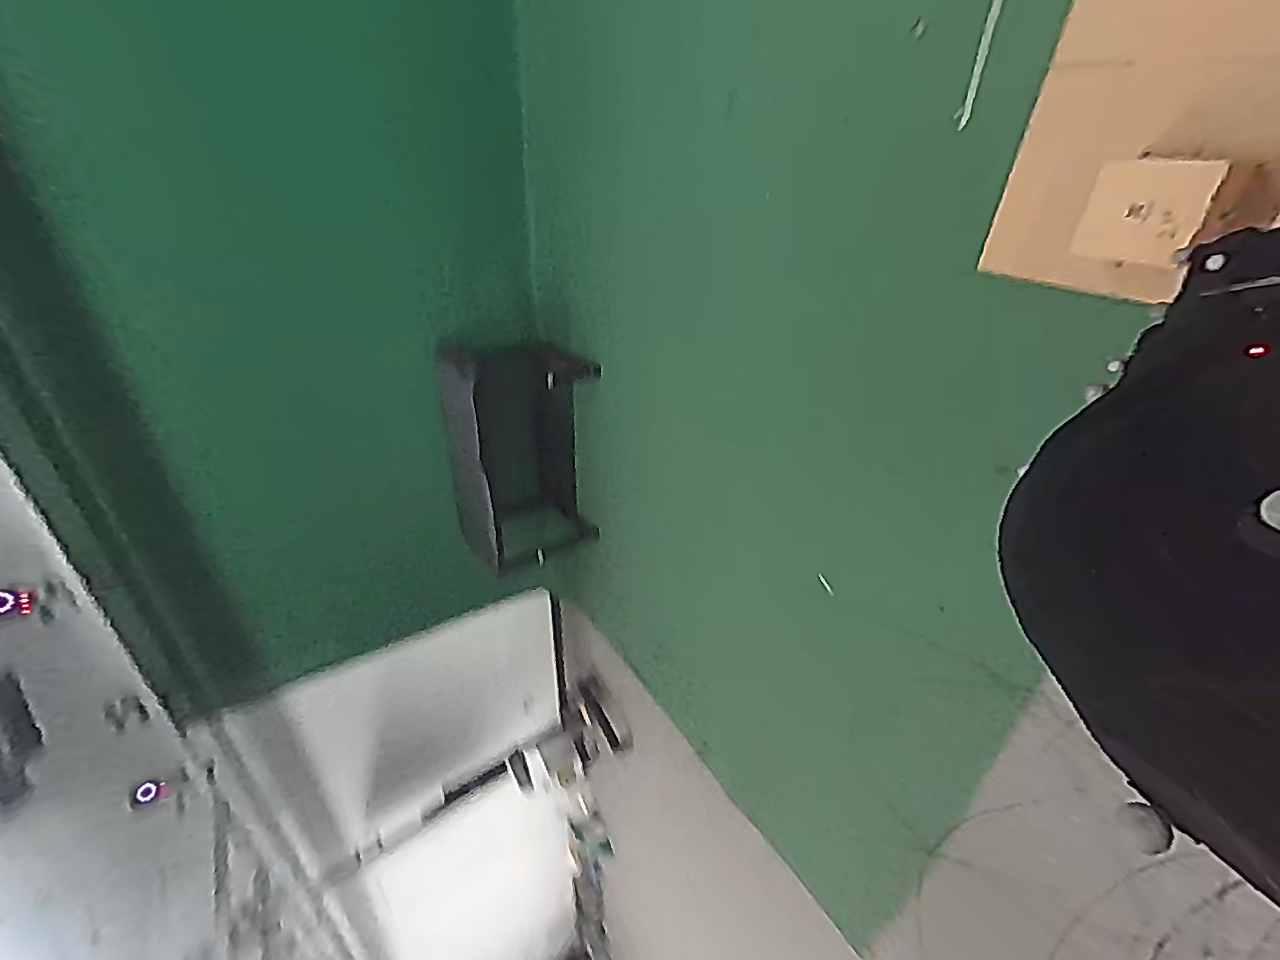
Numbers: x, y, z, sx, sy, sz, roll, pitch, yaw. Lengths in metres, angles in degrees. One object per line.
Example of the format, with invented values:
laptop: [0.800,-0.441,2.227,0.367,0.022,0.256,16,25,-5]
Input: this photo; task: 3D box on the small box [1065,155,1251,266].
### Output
small box: [0.945,-0.498,0.993,0.179,0.176,0.168,37,137,44]
